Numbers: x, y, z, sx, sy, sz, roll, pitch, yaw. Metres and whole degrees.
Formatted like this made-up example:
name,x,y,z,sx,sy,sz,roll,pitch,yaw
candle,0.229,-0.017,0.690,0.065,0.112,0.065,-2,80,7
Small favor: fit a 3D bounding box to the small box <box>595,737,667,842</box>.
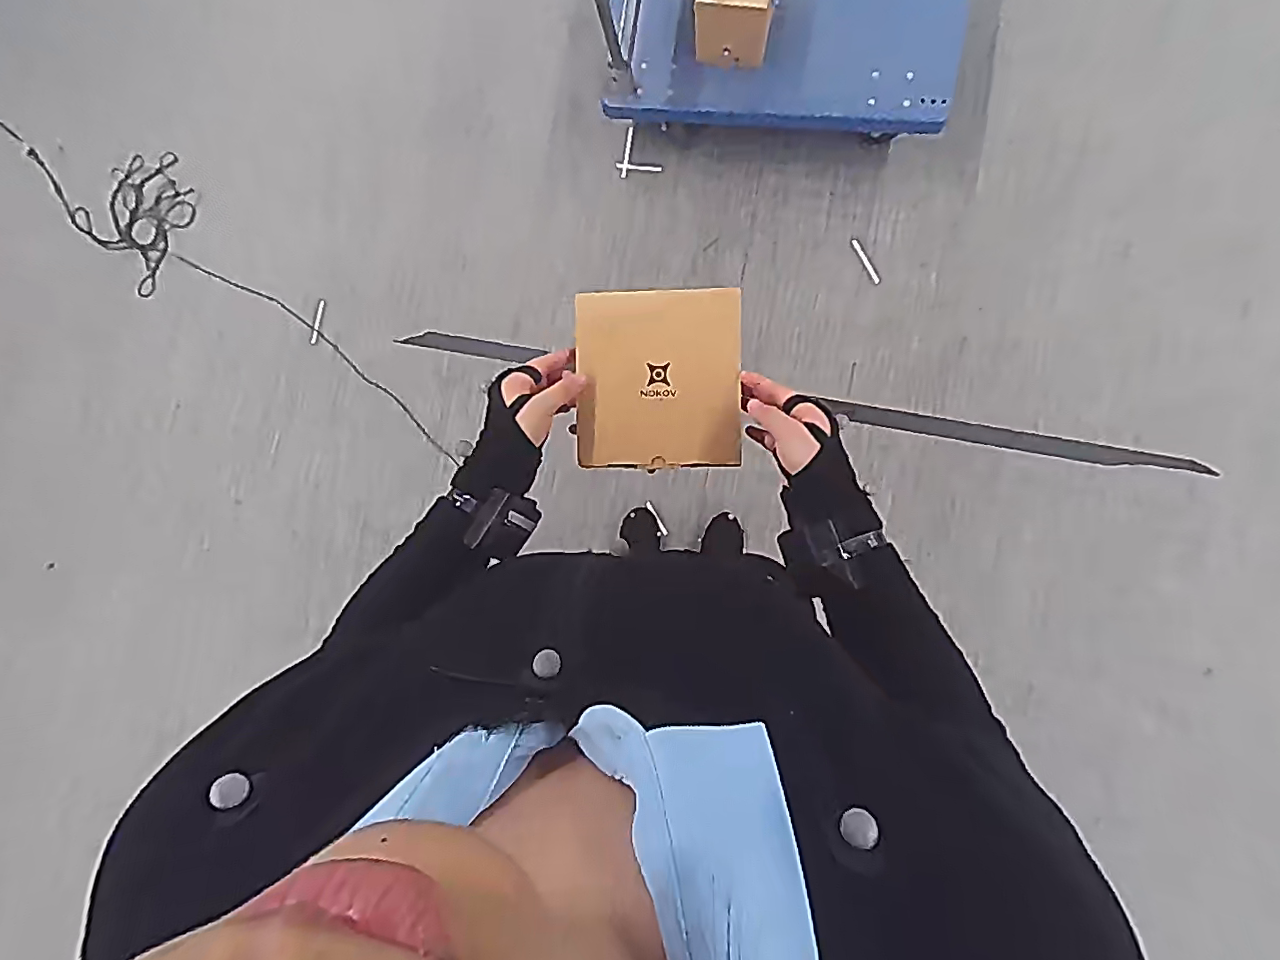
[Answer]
name,x,y,z,sx,sy,sz,roll,pitch,yaw
small box,-0.020,0.787,1.387,0.168,0.176,0.179,-2,86,6
